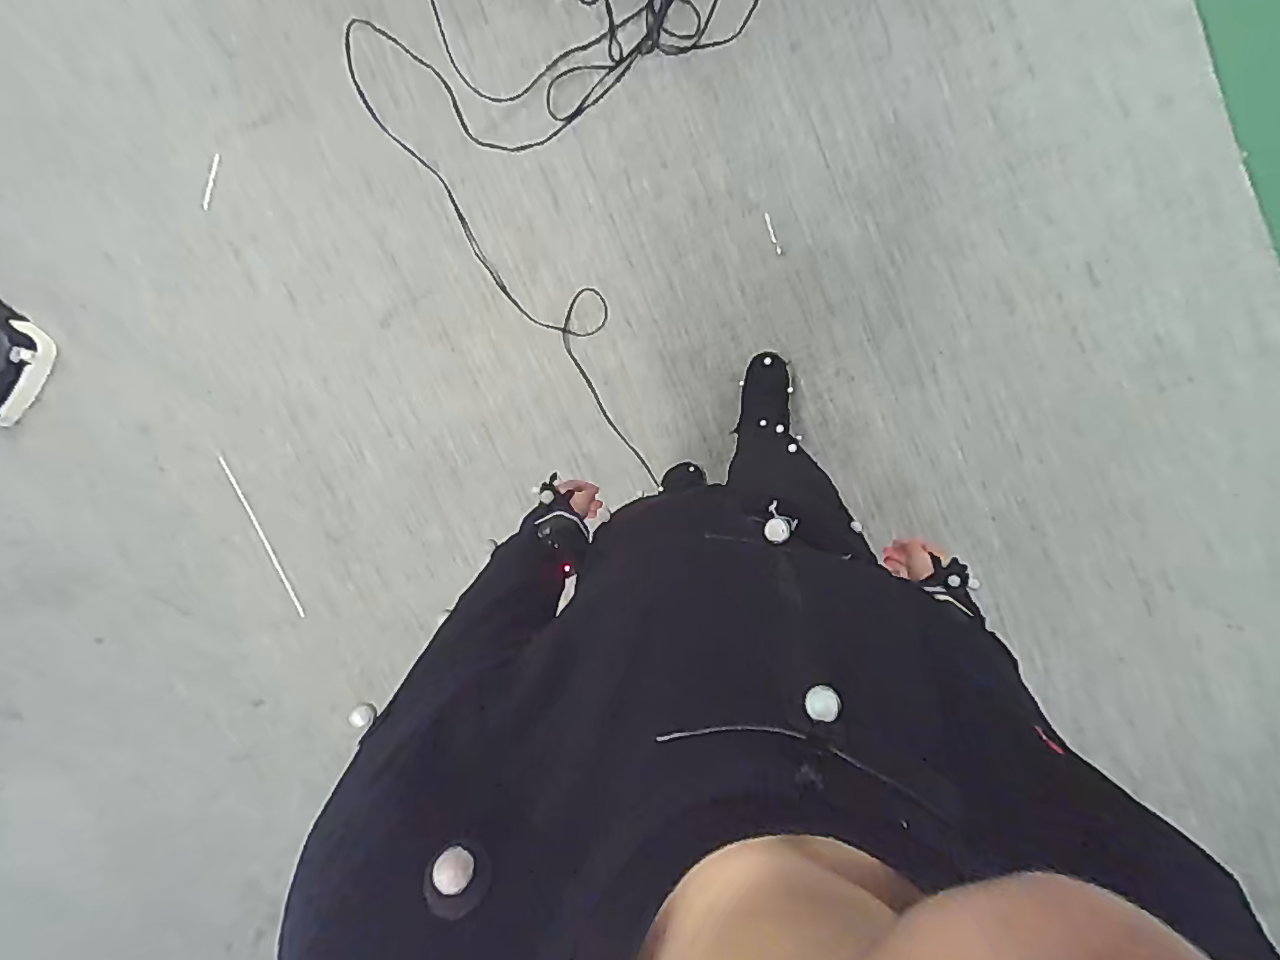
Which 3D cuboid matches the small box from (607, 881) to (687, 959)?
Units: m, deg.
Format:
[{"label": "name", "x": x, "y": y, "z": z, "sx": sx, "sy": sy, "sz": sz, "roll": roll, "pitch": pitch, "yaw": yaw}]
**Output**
[{"label": "small box", "x": 0.023, "y": 1.186, "z": 1.406, "sx": 0.168, "sy": 0.176, "sz": 0.179, "roll": -16, "pitch": 96, "yaw": 7}]
